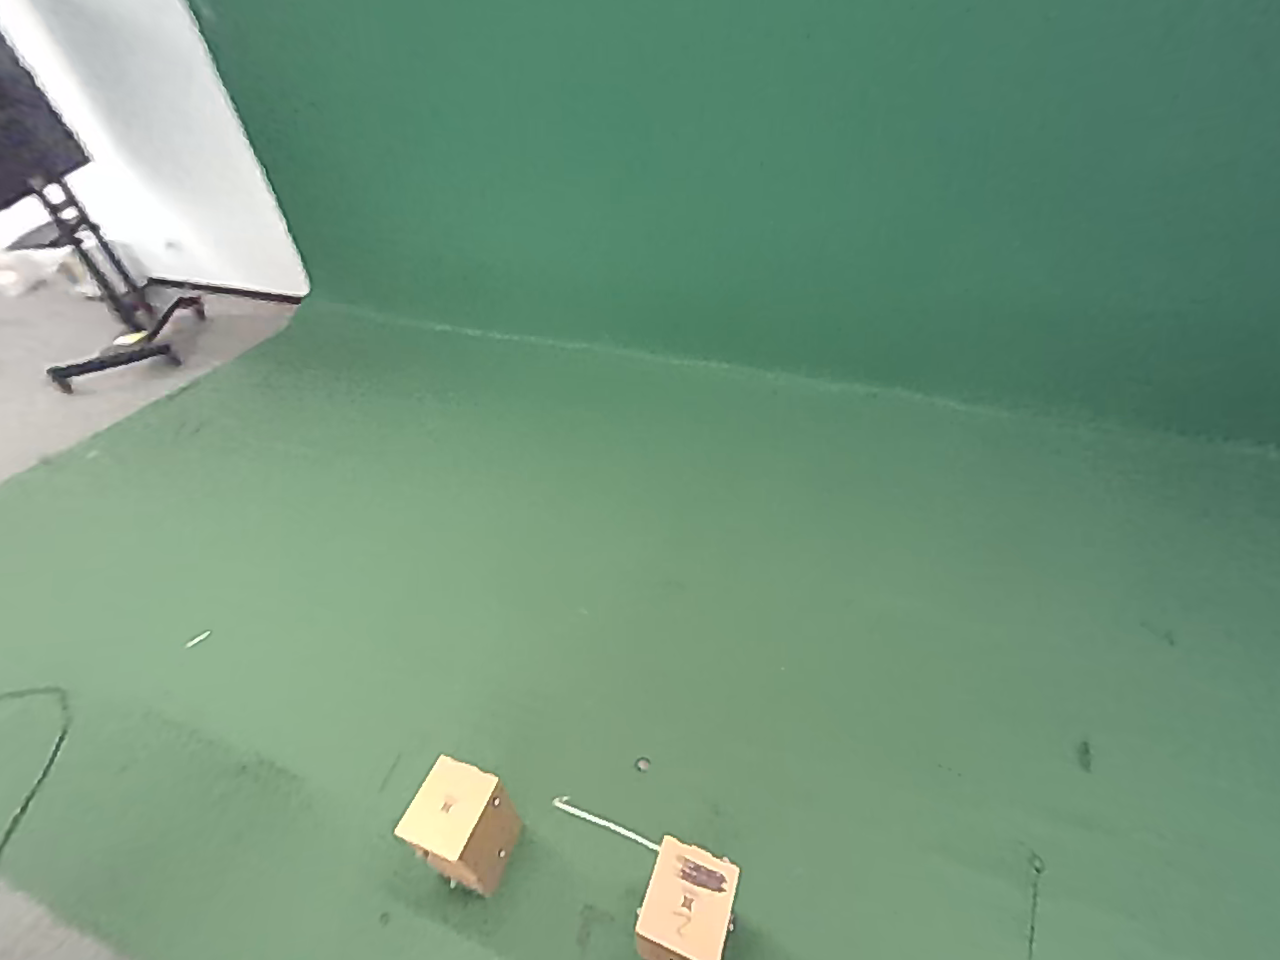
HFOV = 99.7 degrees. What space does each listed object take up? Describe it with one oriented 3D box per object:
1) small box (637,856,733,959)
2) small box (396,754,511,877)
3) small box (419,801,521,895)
[{"bbox_3d":[0.102,1.005,1.227,0.168,0.176,0.179,14,45,18],"label":"small box"},{"bbox_3d":[-0.422,0.786,1.263,0.168,0.176,0.179,12,43,17],"label":"small box"},{"bbox_3d":[-0.418,0.906,1.370,0.168,0.176,0.179,12,44,17],"label":"small box"}]
